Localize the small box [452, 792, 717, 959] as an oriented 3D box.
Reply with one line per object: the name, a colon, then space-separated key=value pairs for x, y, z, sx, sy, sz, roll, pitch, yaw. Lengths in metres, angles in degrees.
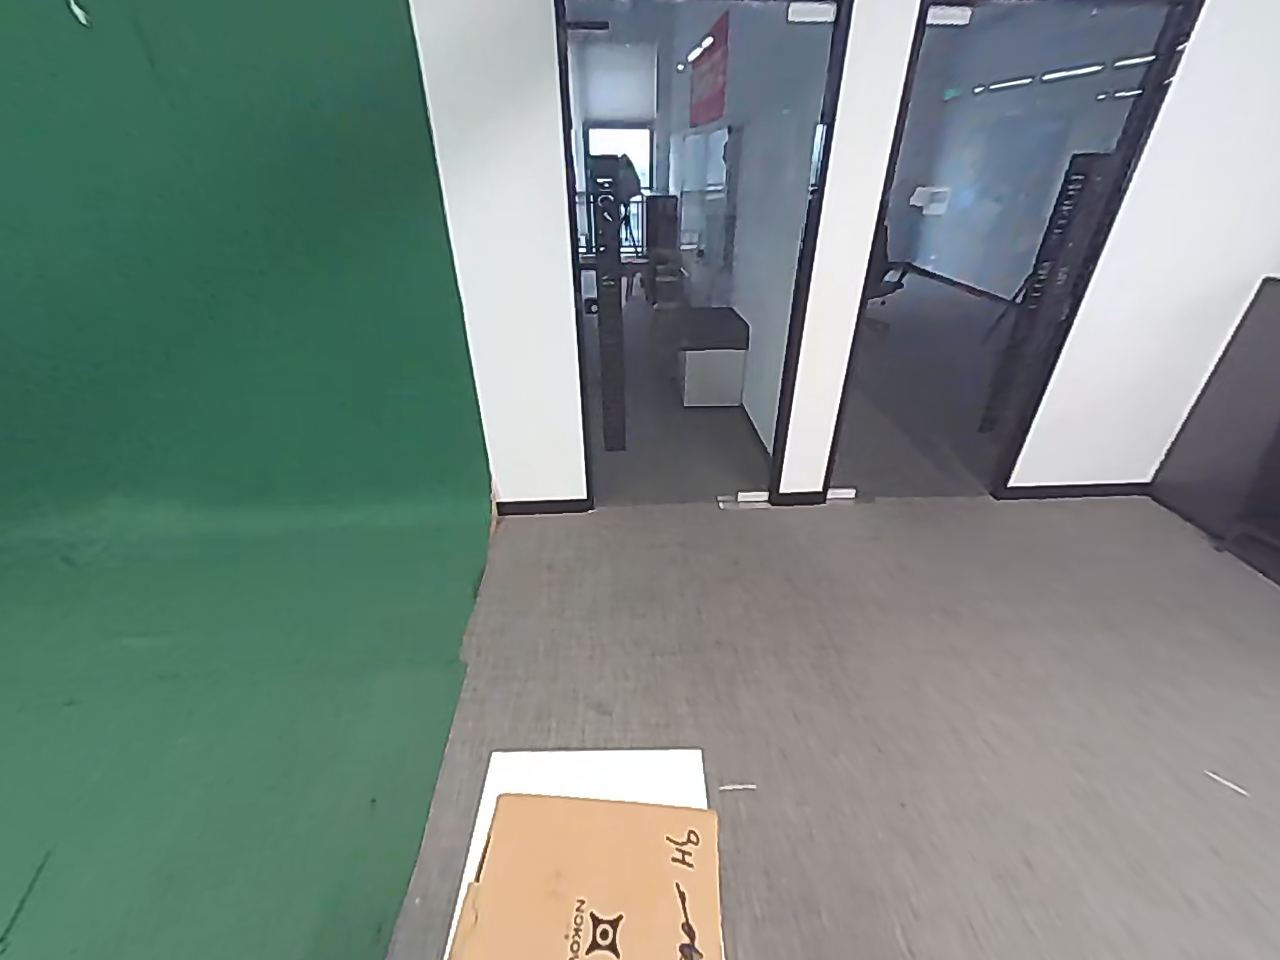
small box: x=-0.034 y=0.368 z=0.416 sx=0.179 sy=0.176 sz=0.168 roll=3 pitch=39 yaw=3
